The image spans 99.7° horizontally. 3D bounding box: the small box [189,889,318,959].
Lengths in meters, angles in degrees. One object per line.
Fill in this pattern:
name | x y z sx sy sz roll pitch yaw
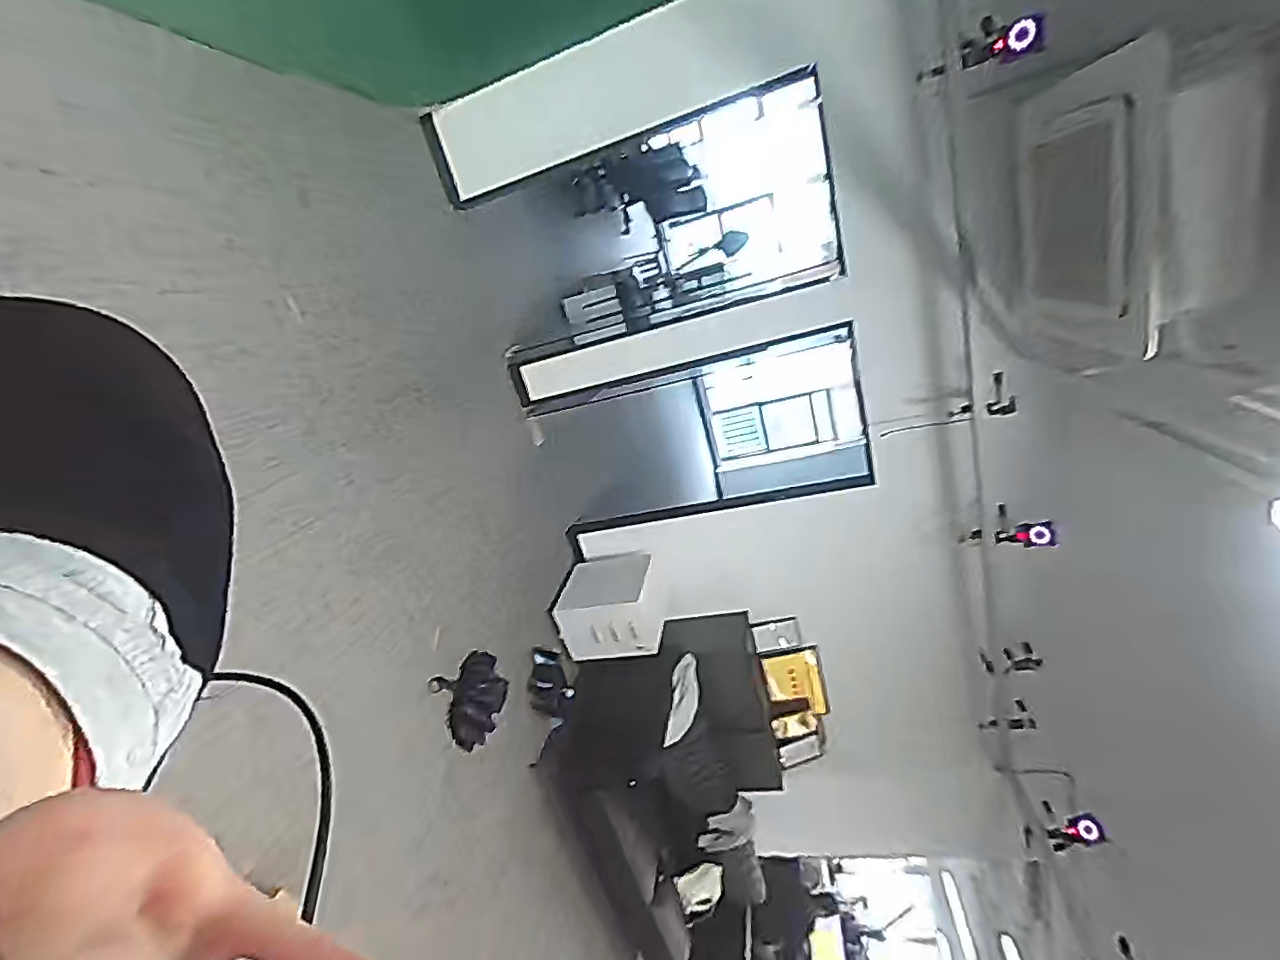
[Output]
small box | -0.988 1.188 1.389 0.168 0.176 0.179 -69 143 -64
